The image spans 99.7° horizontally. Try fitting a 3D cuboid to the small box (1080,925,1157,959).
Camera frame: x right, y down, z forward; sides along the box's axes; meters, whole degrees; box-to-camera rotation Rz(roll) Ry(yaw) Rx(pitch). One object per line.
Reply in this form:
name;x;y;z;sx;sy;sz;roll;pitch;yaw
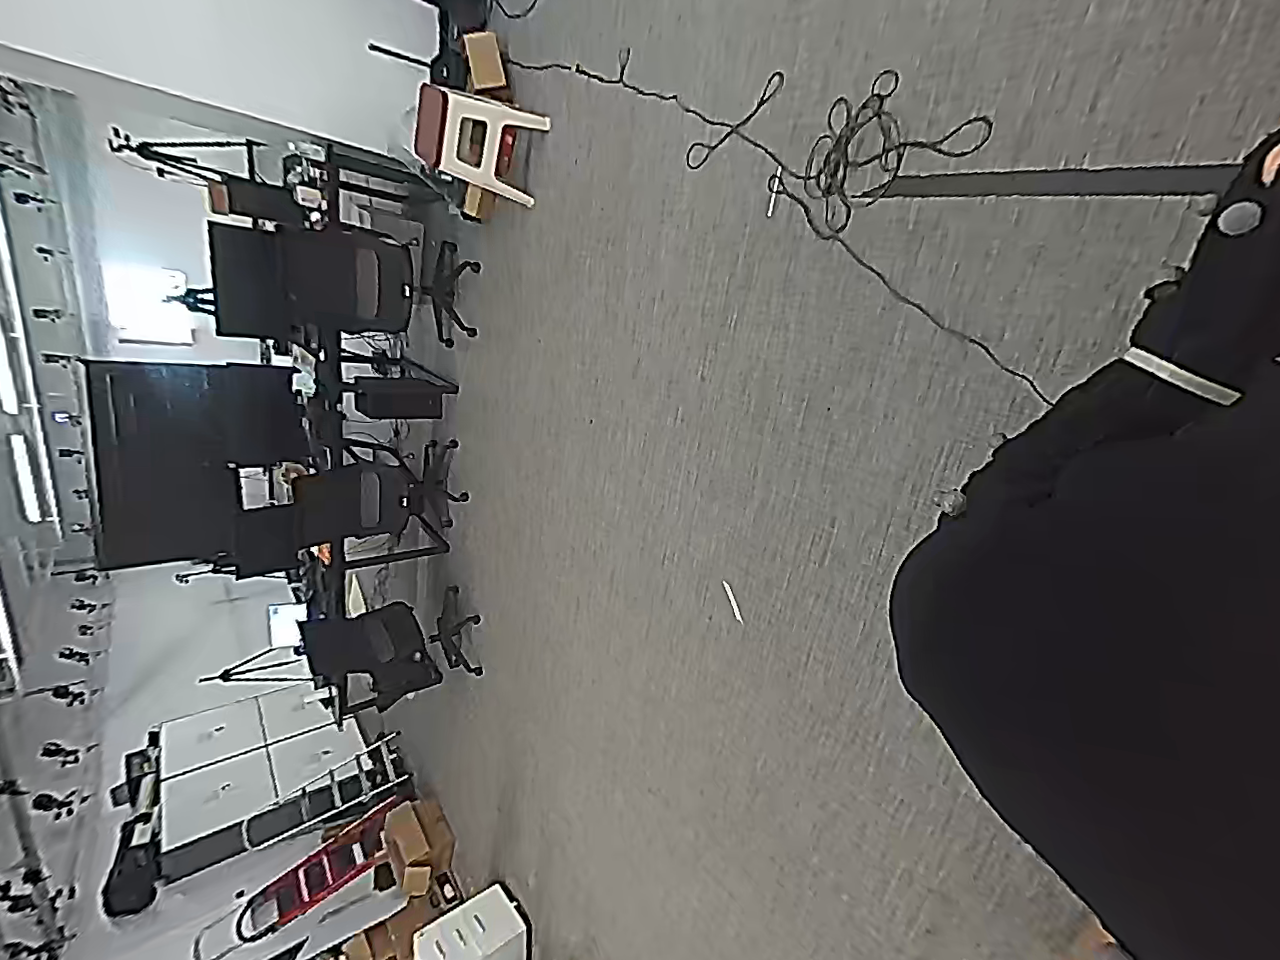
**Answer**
small box;0.987;1.062;1.086;0.168;0.176;0.179;31;119;44
